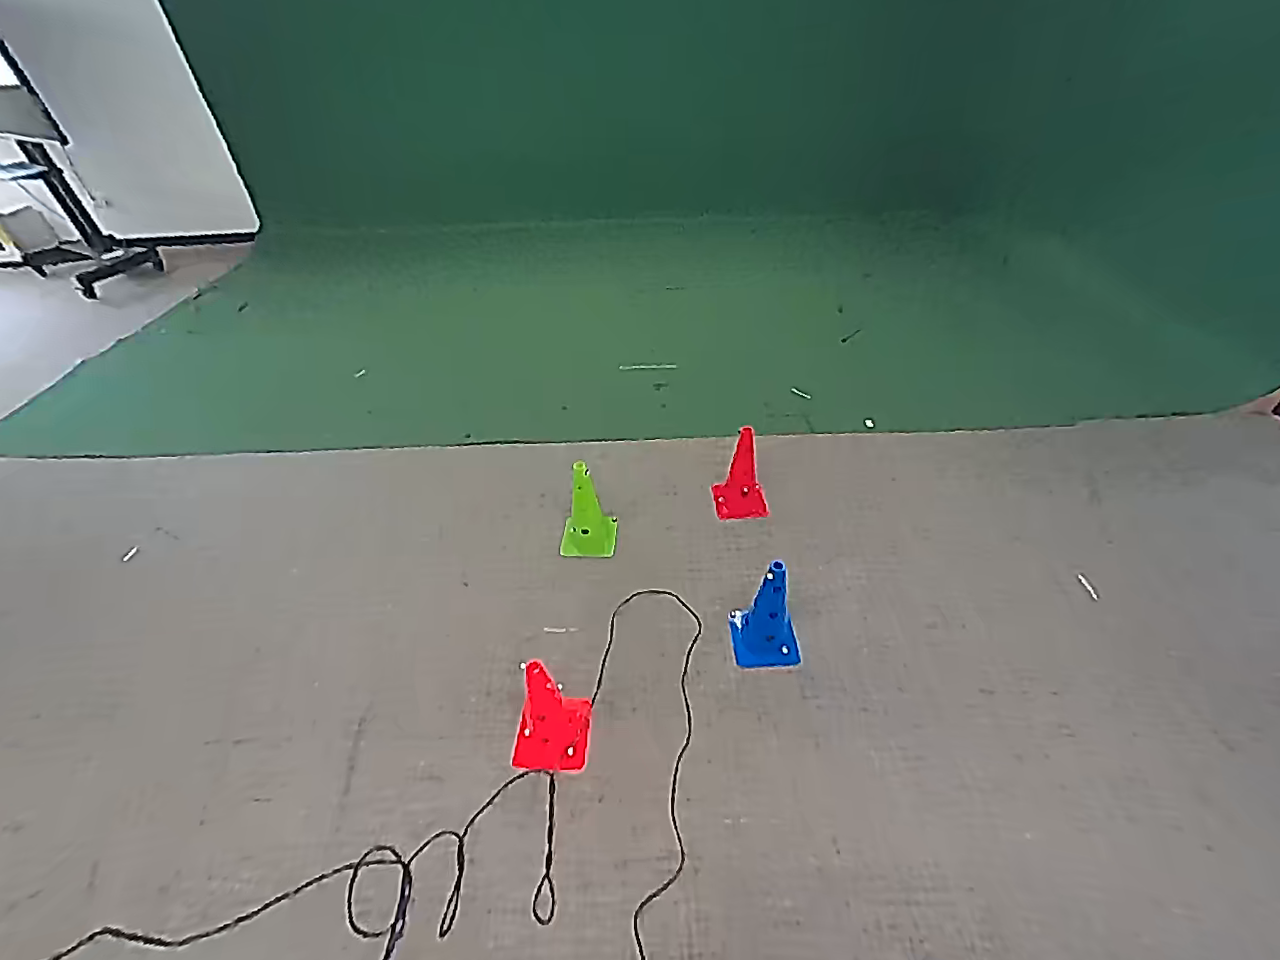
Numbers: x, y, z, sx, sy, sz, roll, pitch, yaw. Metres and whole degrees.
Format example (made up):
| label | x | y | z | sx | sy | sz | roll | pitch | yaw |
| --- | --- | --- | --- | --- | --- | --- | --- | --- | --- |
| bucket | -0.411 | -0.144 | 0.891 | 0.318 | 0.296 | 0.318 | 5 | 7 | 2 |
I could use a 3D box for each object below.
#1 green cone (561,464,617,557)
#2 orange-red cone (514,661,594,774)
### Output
| label | x | y | z | sx | sy | sz | roll | pitch | yaw |
| --- | --- | --- | --- | --- | --- | --- | --- | --- | --- |
| green cone | -0.198 | 0.086 | 1.930 | 0.200 | 0.368 | 0.202 | -1 | 42 | 3 |
| orange-red cone | -0.239 | 0.573 | 1.386 | 0.198 | 0.360 | 0.199 | 2 | 40 | 4 |
